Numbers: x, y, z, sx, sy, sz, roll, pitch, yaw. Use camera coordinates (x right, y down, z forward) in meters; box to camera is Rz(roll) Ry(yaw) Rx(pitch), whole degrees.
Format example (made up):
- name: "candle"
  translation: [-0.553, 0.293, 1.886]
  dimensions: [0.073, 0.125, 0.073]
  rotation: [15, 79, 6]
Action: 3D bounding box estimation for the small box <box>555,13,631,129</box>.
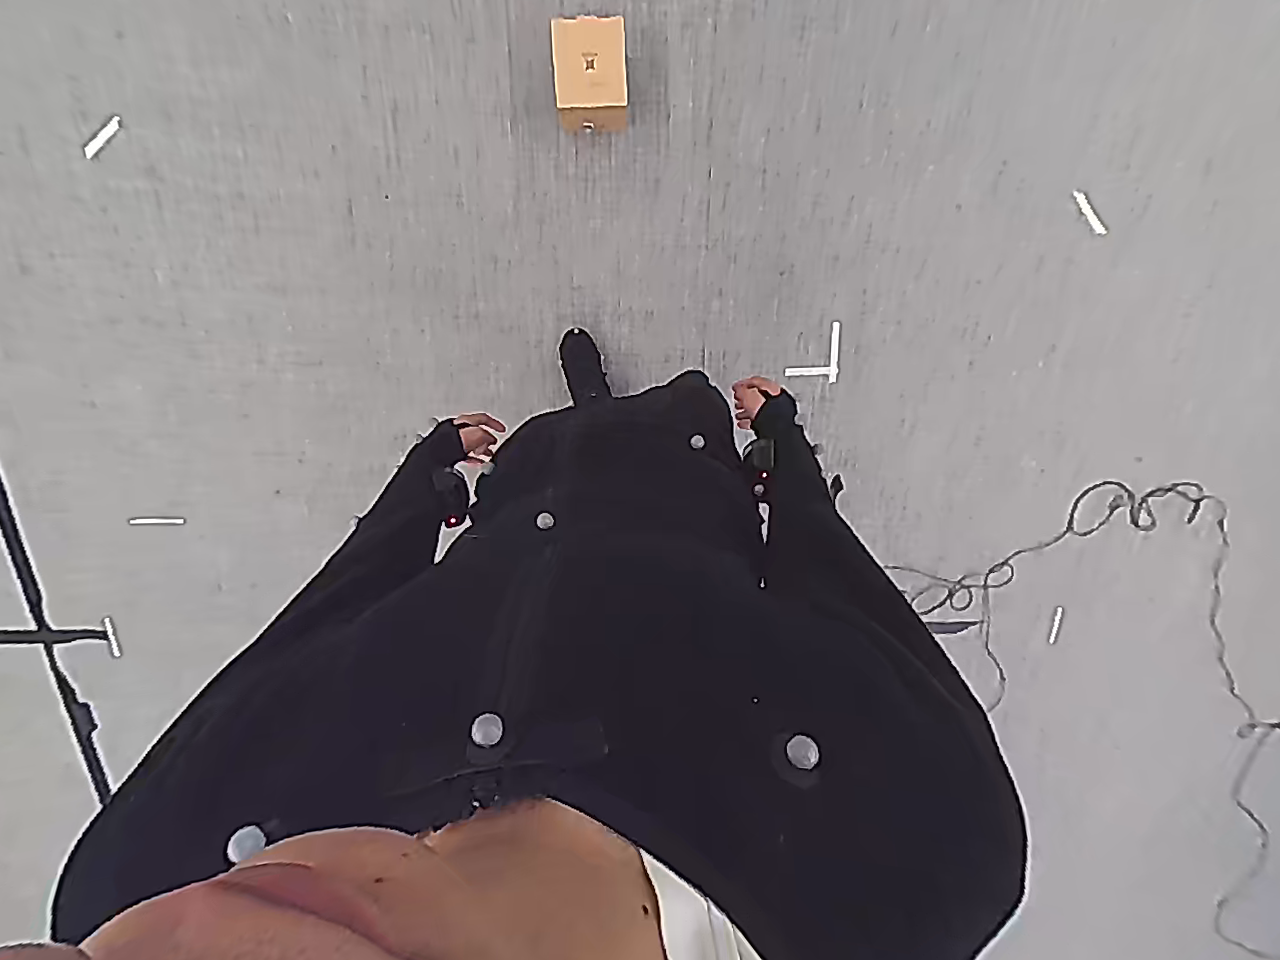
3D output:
- name: "small box"
  translation: [-0.110, -0.966, 1.289]
  dimensions: [0.168, 0.176, 0.179]
  rotation: [-3, 107, -2]
